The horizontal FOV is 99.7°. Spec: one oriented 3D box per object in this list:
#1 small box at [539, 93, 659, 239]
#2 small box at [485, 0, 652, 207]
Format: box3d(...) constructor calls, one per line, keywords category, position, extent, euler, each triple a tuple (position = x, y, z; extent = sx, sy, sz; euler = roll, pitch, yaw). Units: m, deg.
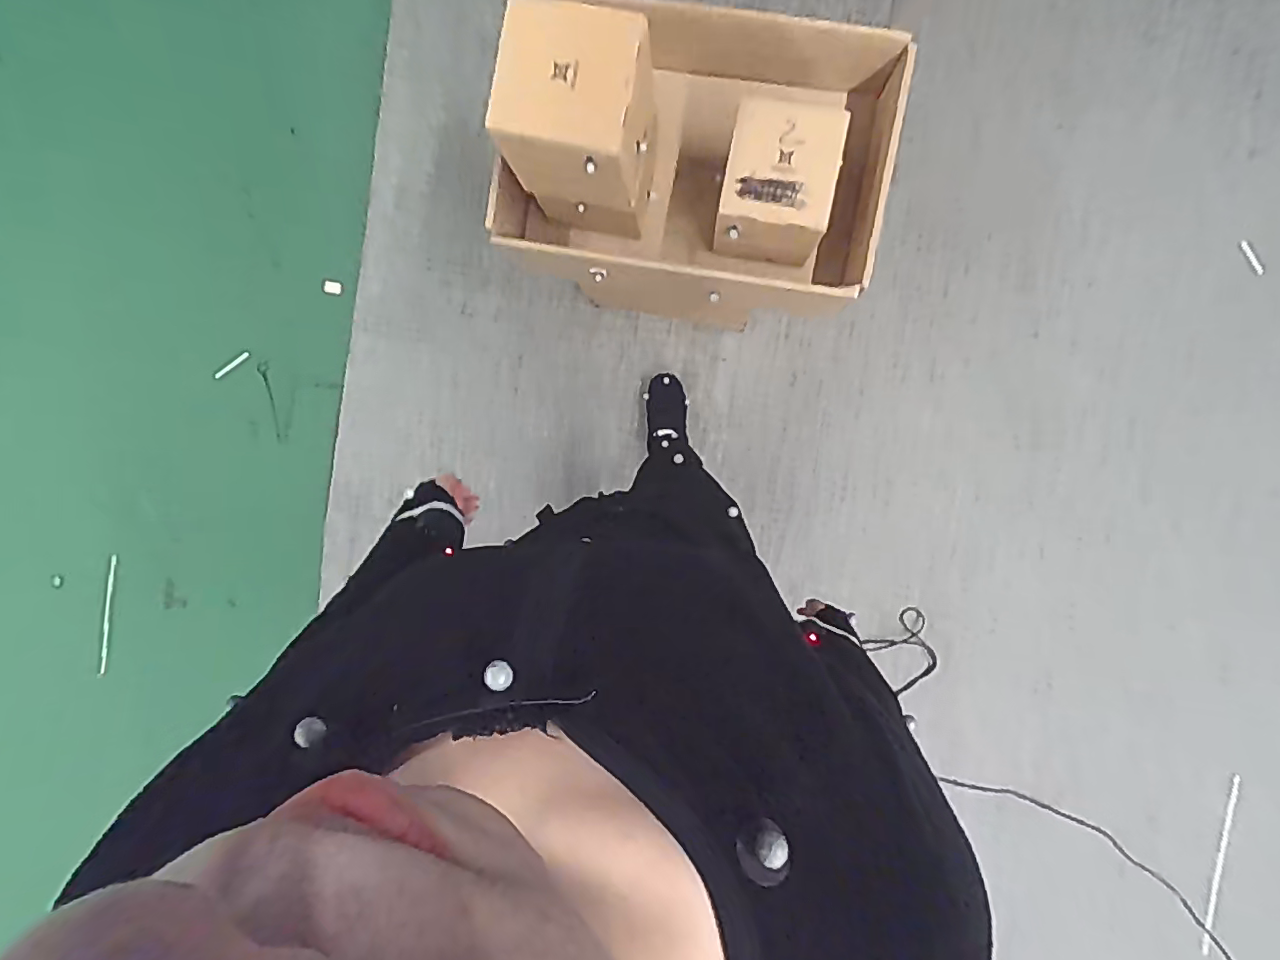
box3d(category="small box", position=(-0.070, -0.526, 0.904), extent=(0.179, 0.176, 0.168), euler=(12, 94, 3))
box3d(category="small box", position=(-0.087, -0.502, 0.743), extent=(0.179, 0.176, 0.168), euler=(13, 94, 3))
